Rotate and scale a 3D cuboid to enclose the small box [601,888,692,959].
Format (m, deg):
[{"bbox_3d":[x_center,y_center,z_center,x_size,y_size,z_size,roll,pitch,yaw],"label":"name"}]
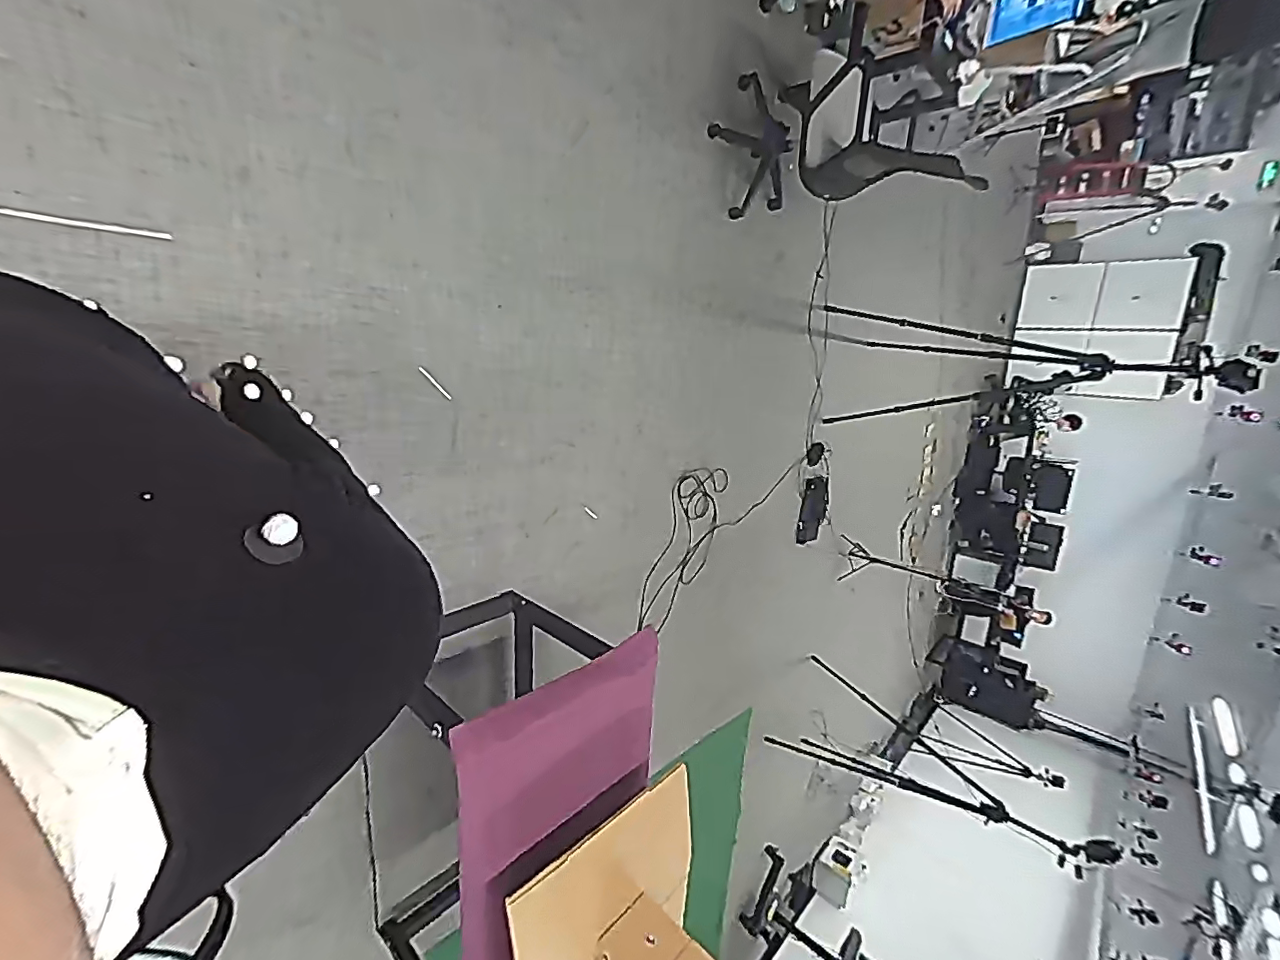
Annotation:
[{"bbox_3d":[0.012,1.235,1.407,0.179,0.176,0.168,-15,115,-46],"label":"small box"}]
